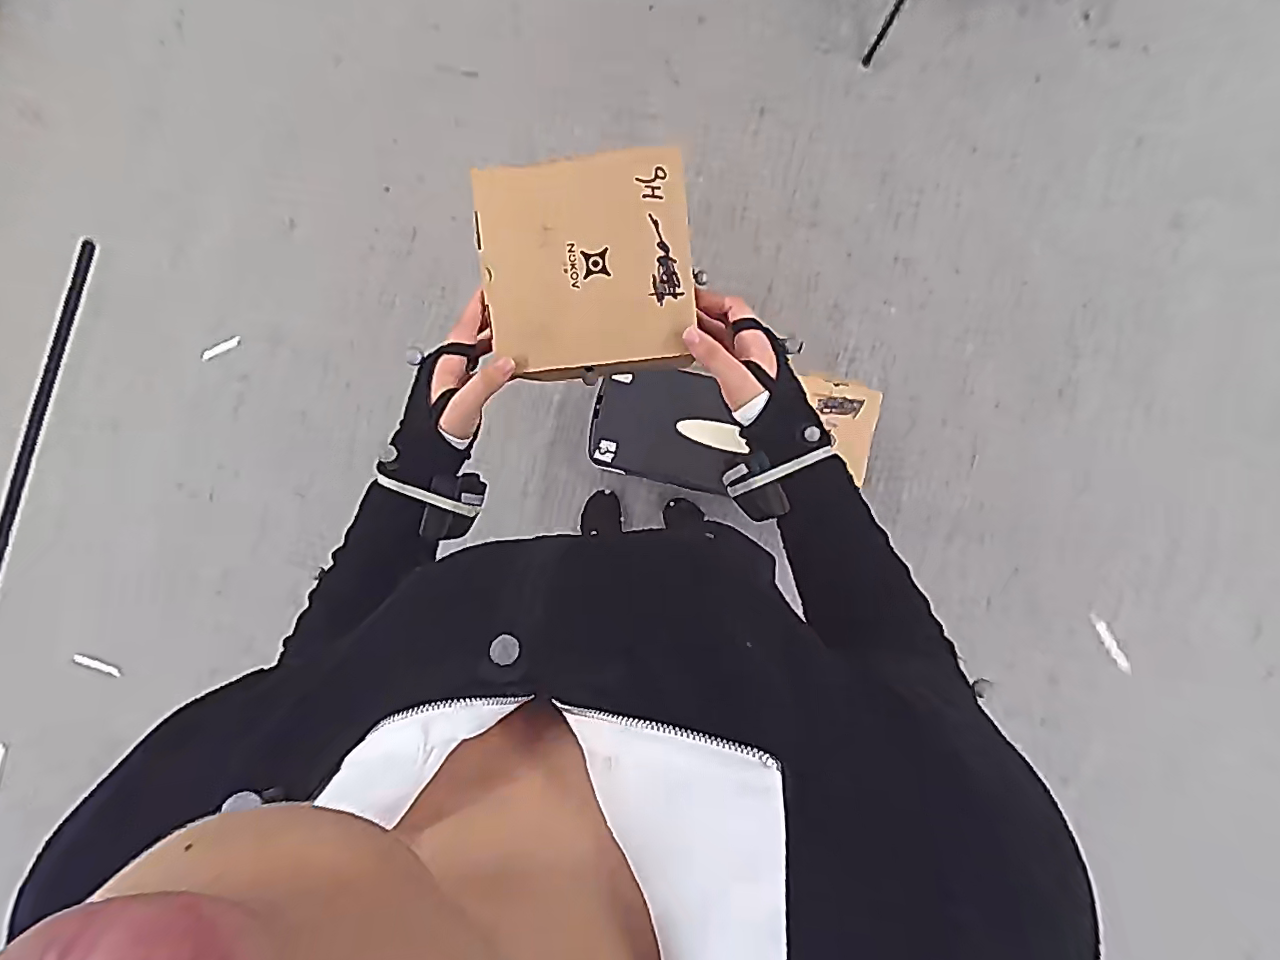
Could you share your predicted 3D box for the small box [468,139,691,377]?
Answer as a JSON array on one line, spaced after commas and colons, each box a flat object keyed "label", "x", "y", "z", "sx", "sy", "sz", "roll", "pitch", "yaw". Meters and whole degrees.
[{"label": "small box", "x": -0.044, "y": -0.195, "z": 0.527, "sx": 0.179, "sy": 0.176, "sz": 0.168, "roll": -6, "pitch": 97, "yaw": 4}]

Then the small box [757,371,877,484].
[{"label": "small box", "x": 0.331, "y": -0.094, "z": 1.045, "sx": 0.168, "sy": 0.176, "sz": 0.179, "roll": 13, "pitch": 90, "yaw": 6}]

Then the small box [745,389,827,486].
[{"label": "small box", "x": 0.336, "y": -0.087, "z": 1.209, "sx": 0.168, "sy": 0.176, "sz": 0.179, "roll": 13, "pitch": 90, "yaw": 6}]
